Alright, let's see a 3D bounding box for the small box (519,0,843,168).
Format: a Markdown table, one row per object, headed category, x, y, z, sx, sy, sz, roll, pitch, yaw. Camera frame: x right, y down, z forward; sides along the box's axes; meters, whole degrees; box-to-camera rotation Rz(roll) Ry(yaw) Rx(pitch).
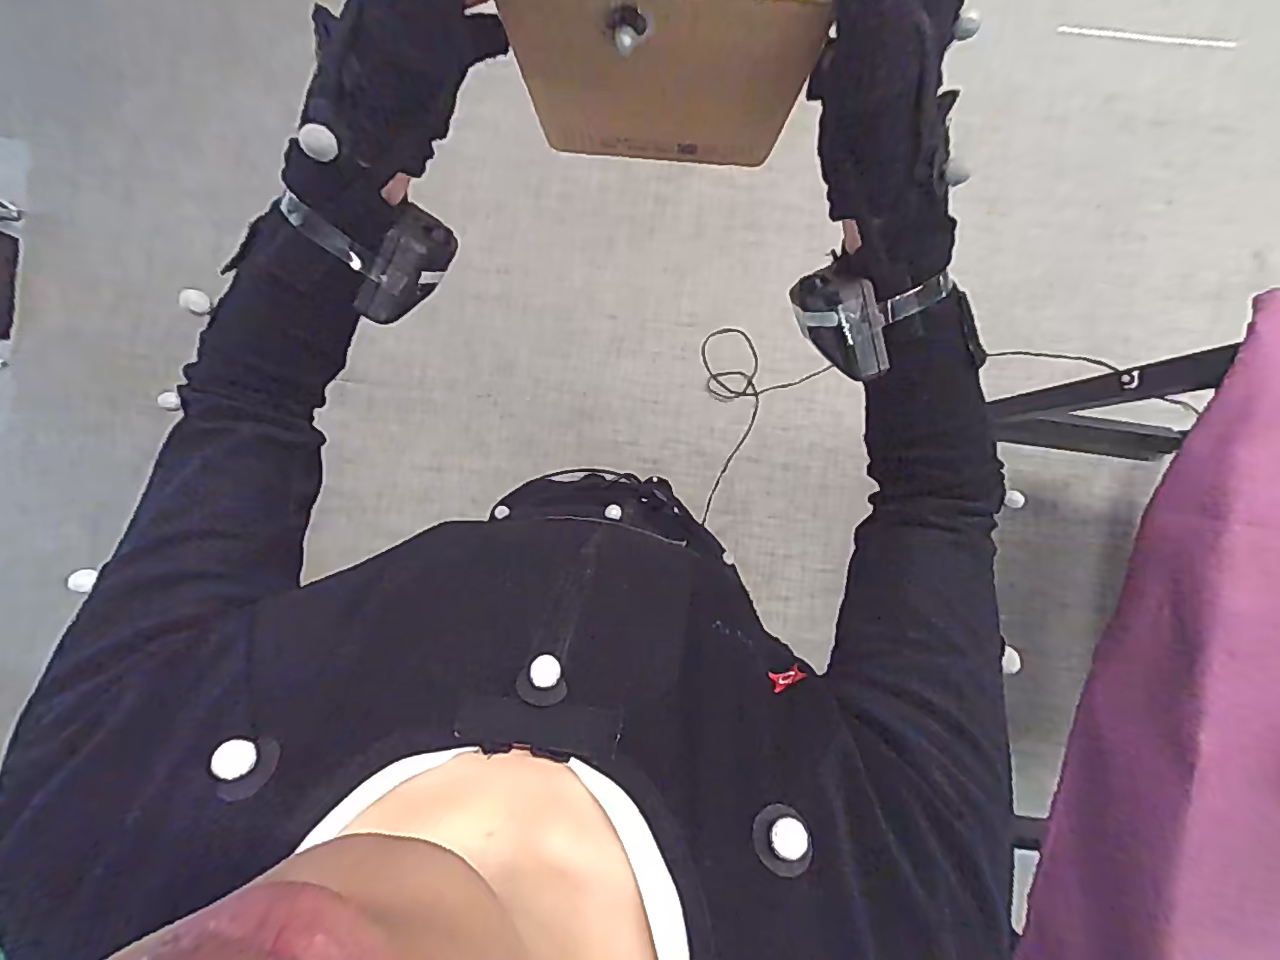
| category | x | y | z | sx | sy | sz | roll | pitch | yaw |
| --- | --- | --- | --- | --- | --- | --- | --- | --- | --- |
| small box | 0.022 | -0.320 | 0.319 | 0.168 | 0.176 | 0.179 | 5 | 96 | 0 |
